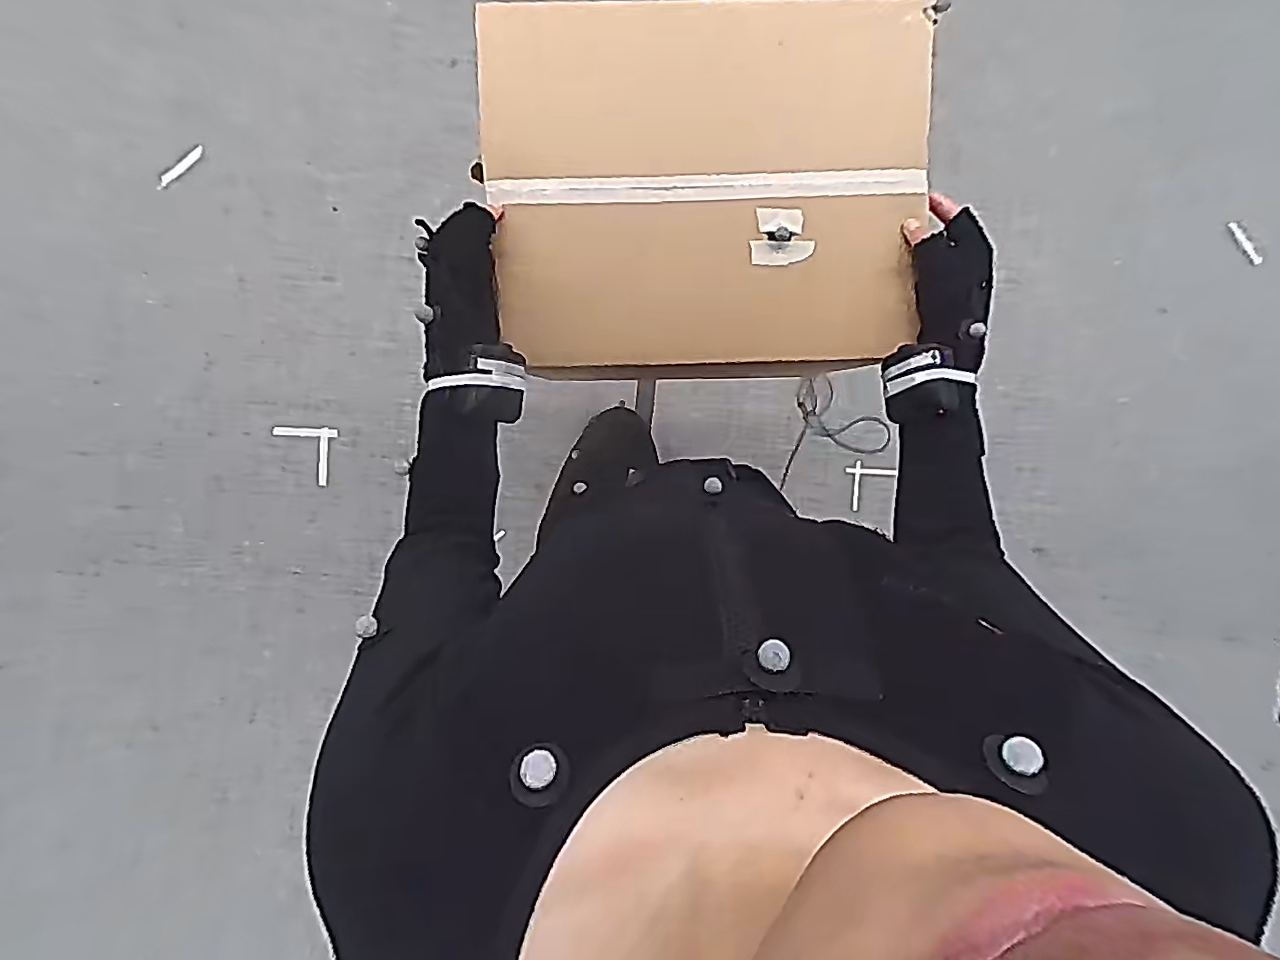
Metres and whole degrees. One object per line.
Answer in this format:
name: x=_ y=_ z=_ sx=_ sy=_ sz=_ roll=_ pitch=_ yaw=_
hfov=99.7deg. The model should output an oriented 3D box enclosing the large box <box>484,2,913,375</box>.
large box: x=0.056 y=-0.302 z=0.664 sx=0.408 sy=0.320 sz=0.320 roll=-2 pitch=99 yaw=-1
